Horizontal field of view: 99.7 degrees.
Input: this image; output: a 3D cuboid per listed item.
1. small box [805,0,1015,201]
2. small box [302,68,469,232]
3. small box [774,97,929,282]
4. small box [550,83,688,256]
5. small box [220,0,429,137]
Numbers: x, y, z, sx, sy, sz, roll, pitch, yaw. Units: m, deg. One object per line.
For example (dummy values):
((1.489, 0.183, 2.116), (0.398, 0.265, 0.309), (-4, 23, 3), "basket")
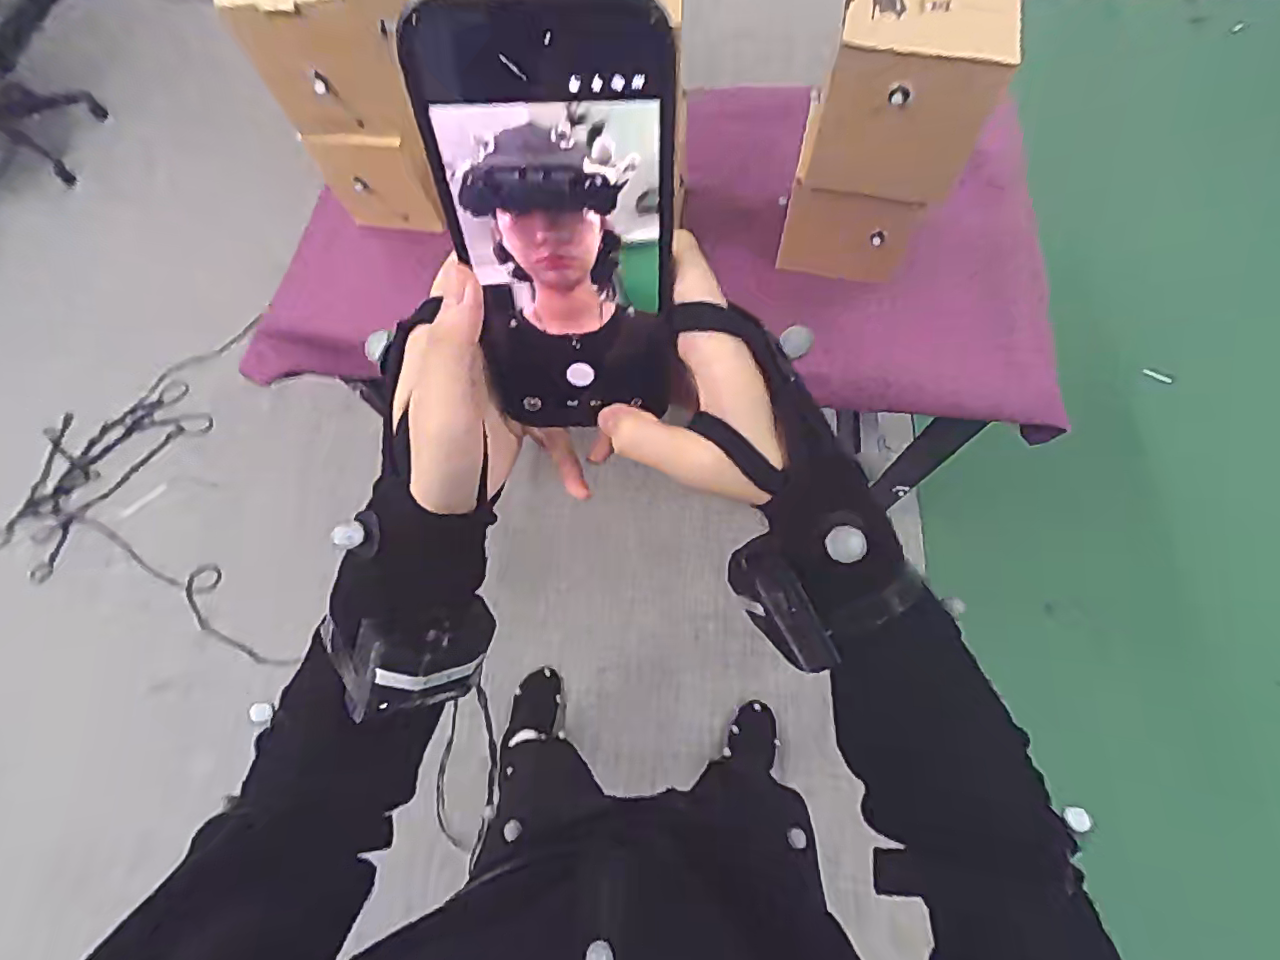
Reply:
((0.307, -0.464, 0.642), (0.179, 0.176, 0.168), (13, 70, 8), "small box")
((-0.405, -0.539, 0.895), (0.168, 0.176, 0.179), (7, 69, 7), "small box")
((0.311, -0.420, 0.801), (0.179, 0.176, 0.168), (13, 70, 9), "small box")
((-0.023, -0.474, 0.842), (0.179, 0.176, 0.168), (7, 69, 7), "small box")
((-0.414, -0.606, 0.745), (0.168, 0.176, 0.179), (3, 70, 4), "small box")
